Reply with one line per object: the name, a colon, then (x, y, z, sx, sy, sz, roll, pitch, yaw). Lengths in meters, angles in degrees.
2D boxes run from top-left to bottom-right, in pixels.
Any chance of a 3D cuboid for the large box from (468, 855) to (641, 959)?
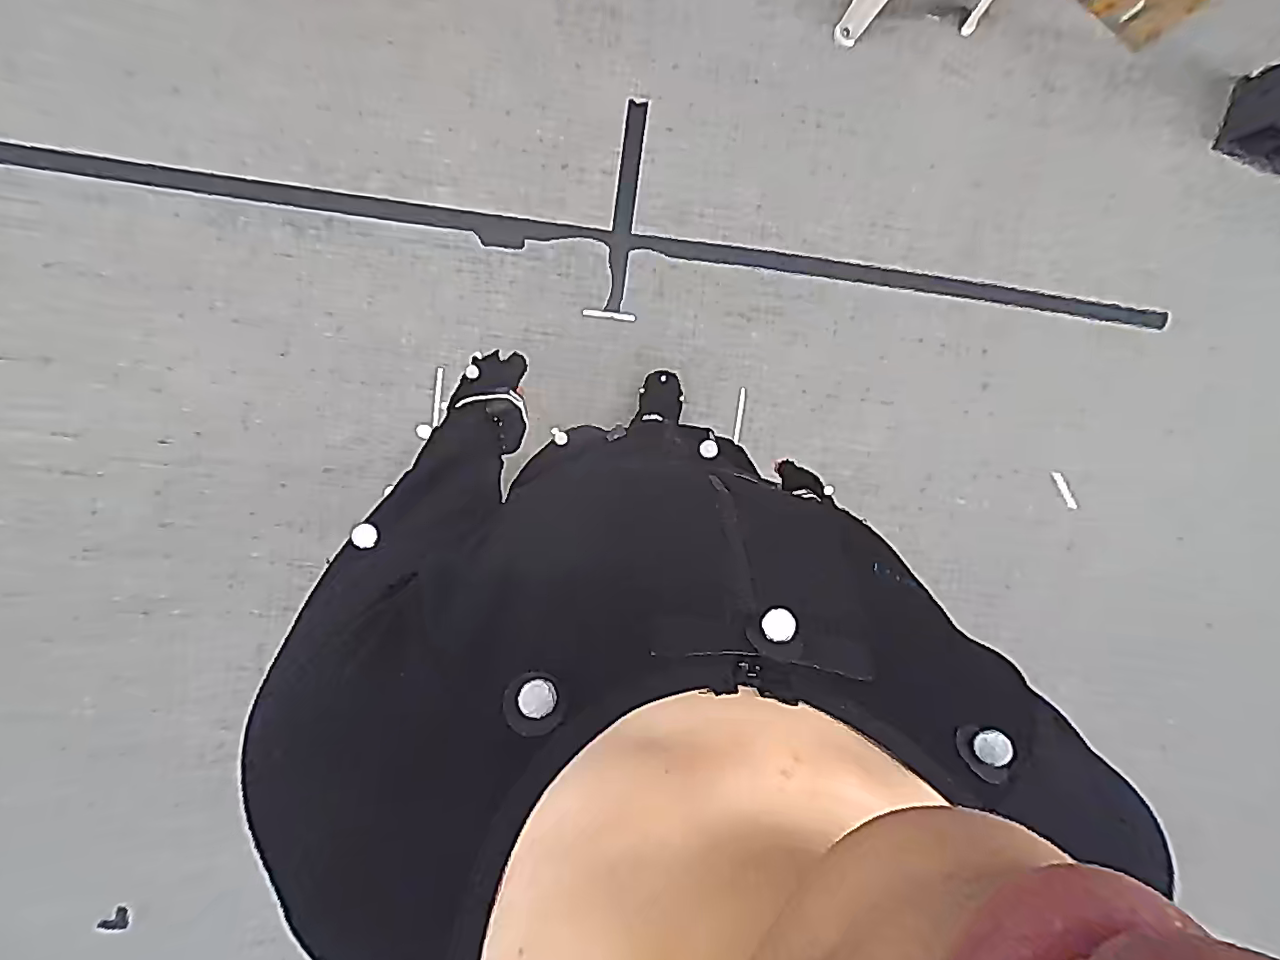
large box: (-0.239, 1.326, 1.467, 0.408, 0.320, 0.320, 27, 92, -7)
